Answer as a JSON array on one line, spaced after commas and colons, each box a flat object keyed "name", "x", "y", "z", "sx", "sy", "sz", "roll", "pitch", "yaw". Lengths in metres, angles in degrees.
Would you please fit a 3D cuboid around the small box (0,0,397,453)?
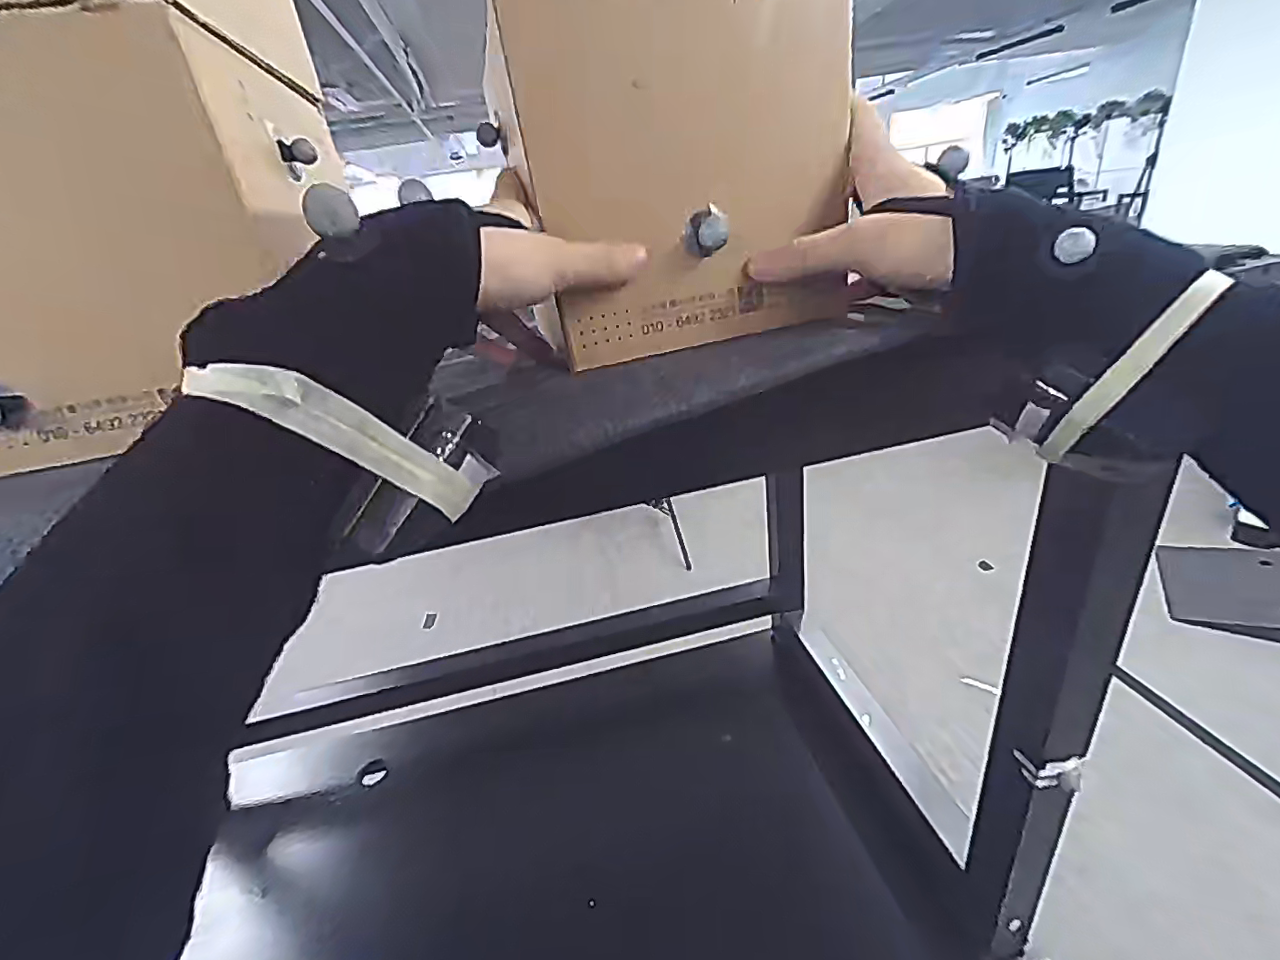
[{"name": "small box", "x": -0.257, "y": -0.123, "z": 0.302, "sx": 0.168, "sy": 0.176, "sz": 0.179, "roll": -12, "pitch": 24, "yaw": -7}]

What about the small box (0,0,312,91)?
[{"name": "small box", "x": -0.279, "y": -0.270, "z": 0.237, "sx": 0.168, "sy": 0.176, "sz": 0.179, "roll": -13, "pitch": 25, "yaw": -6}]

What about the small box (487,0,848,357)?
[{"name": "small box", "x": 0.008, "y": -0.183, "z": 0.340, "sx": 0.168, "sy": 0.176, "sz": 0.179, "roll": -15, "pitch": 26, "yaw": -10}]
